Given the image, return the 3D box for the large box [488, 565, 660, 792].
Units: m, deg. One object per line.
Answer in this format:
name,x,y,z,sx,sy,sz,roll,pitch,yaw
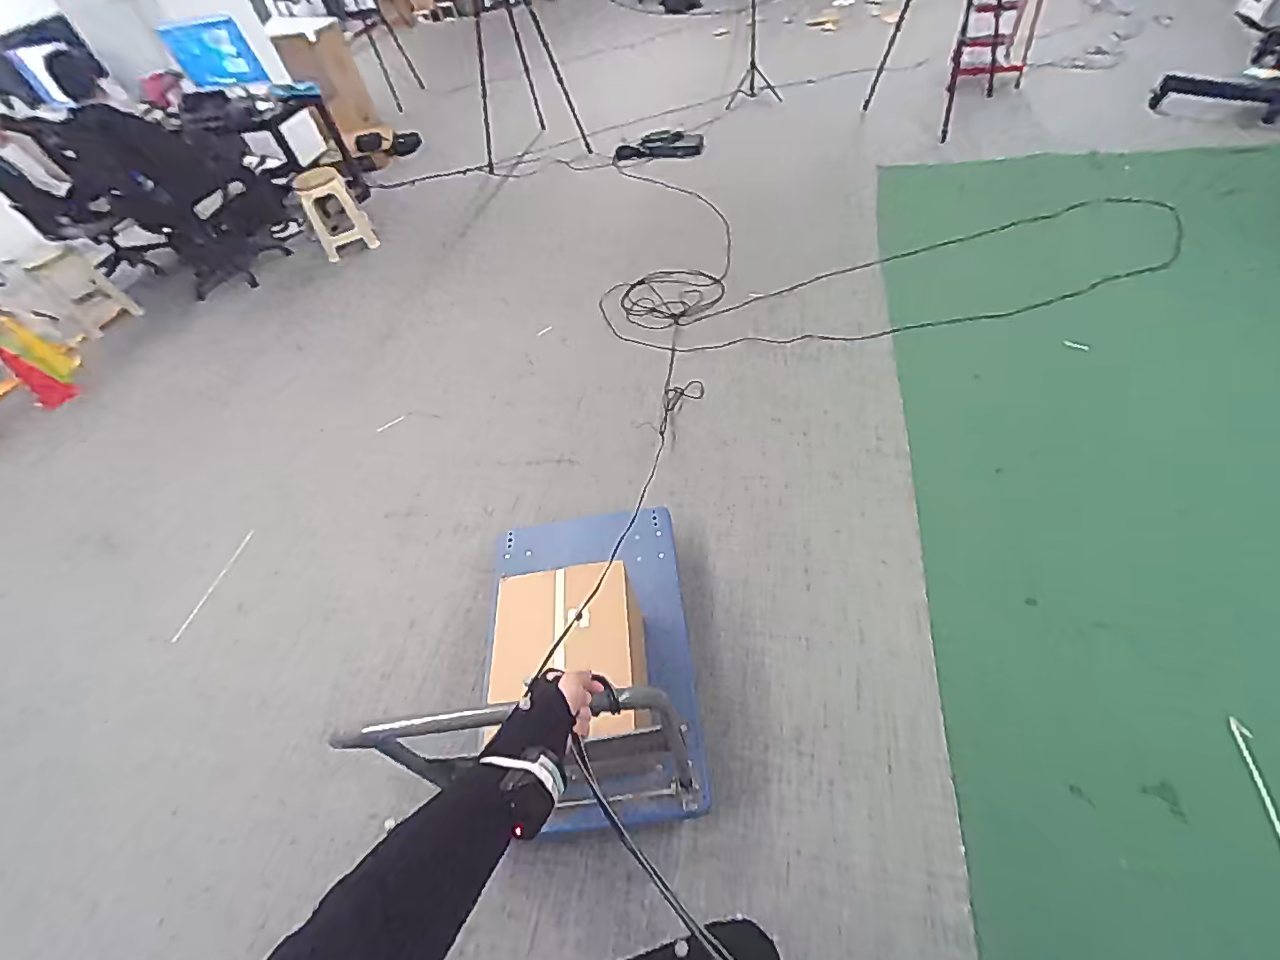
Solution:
large box,-0.144,0.473,1.287,0.320,0.320,0.408,-9,49,3
